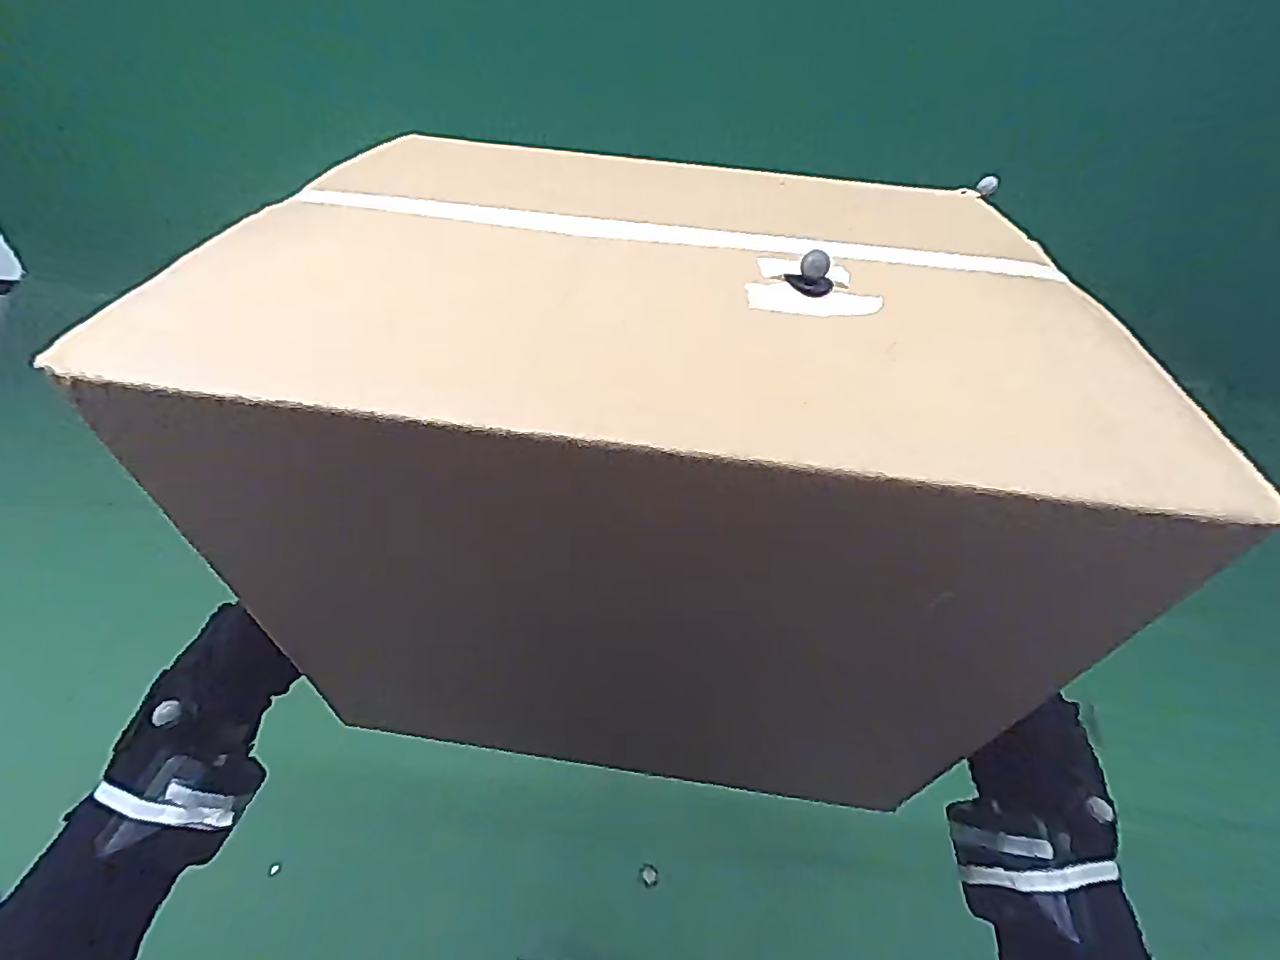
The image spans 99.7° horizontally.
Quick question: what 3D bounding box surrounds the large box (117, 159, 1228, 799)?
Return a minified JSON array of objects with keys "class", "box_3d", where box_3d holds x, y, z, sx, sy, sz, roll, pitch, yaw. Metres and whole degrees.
[{"class":"large box","box_3d":[0.010,-0.006,0.397,0.408,0.320,0.320,9,45,3]}]
